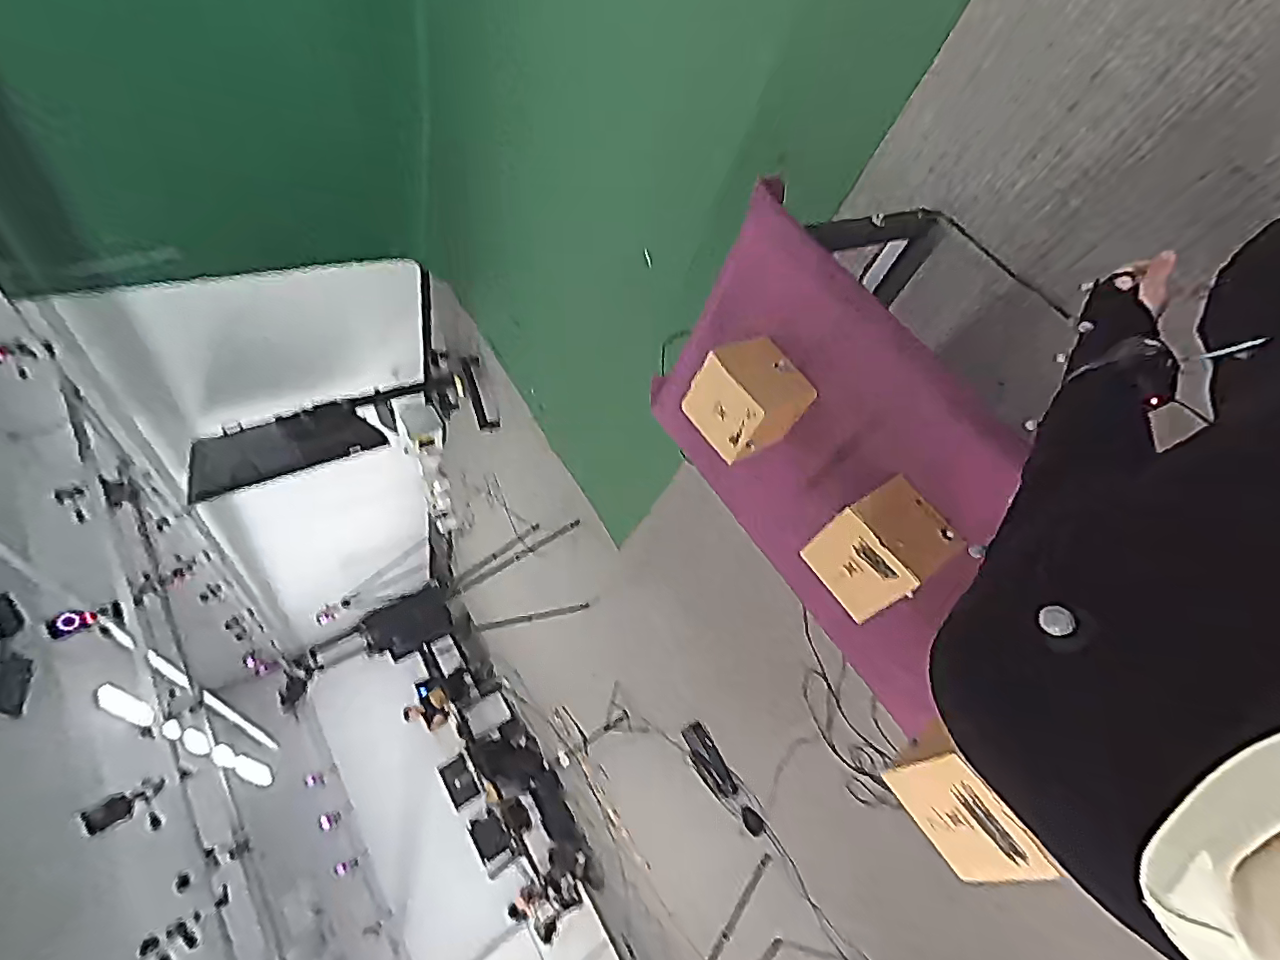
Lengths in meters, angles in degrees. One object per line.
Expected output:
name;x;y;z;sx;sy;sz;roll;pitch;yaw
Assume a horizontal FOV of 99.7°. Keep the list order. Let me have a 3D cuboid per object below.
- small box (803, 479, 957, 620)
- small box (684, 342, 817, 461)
small box;0.447;0.124;1.001;0.168;0.176;0.179;53;146;21
small box;0.230;-0.172;1.136;0.179;0.176;0.168;54;146;20
